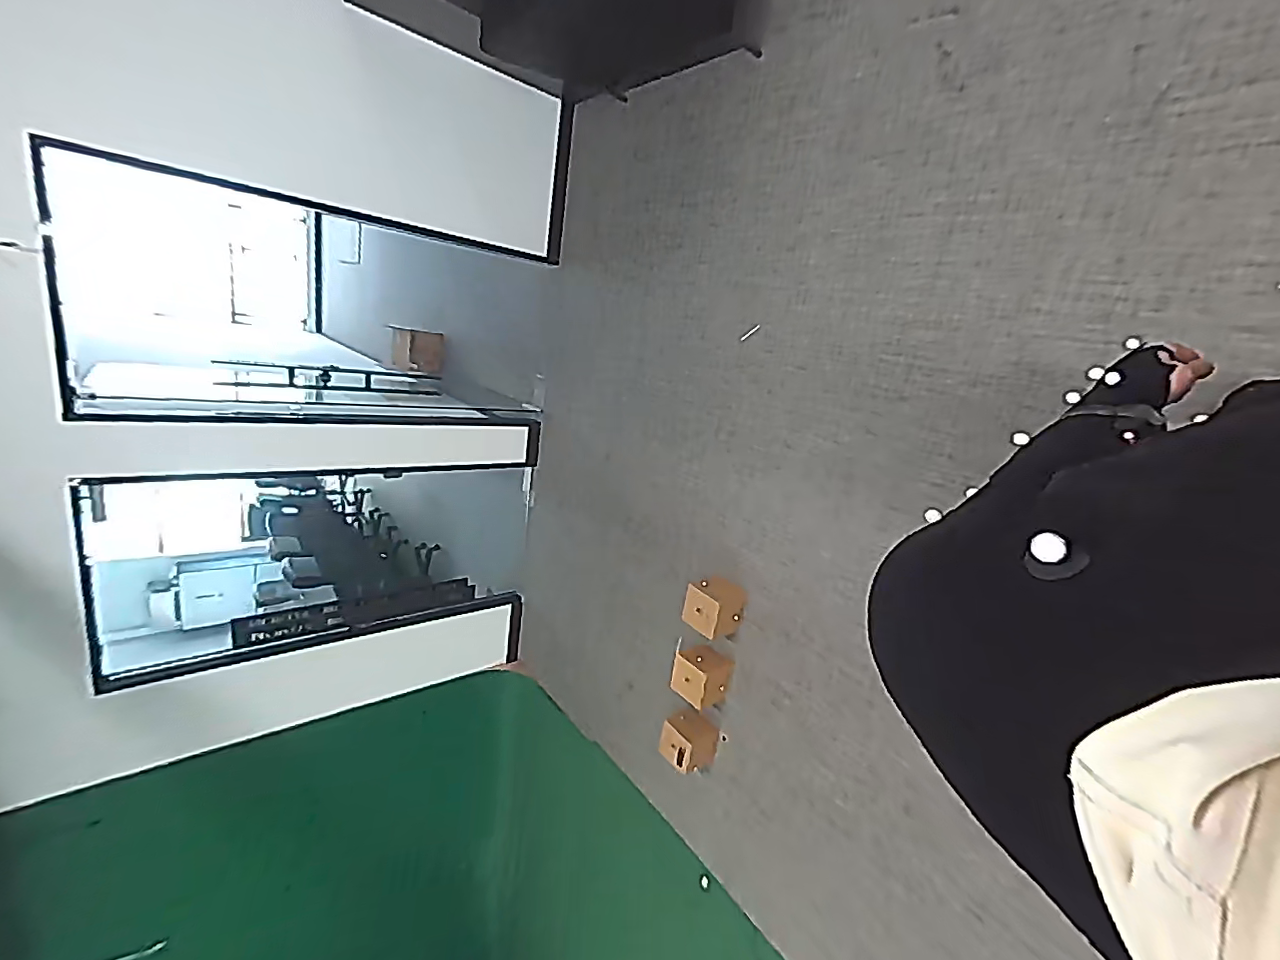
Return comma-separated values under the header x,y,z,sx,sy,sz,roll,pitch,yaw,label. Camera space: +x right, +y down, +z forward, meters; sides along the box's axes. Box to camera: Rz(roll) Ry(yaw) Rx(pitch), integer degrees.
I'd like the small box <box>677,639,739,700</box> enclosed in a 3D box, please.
x,y,z,sx,sy,sz,roll,pitch,yaw,label
0.285,0.786,2.271,0.179,0.176,0.168,24,111,46,small box

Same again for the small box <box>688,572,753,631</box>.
x,y,z,sx,sy,sz,roll,pitch,yaw,label
0.326,0.484,2.191,0.179,0.176,0.168,28,115,46,small box
